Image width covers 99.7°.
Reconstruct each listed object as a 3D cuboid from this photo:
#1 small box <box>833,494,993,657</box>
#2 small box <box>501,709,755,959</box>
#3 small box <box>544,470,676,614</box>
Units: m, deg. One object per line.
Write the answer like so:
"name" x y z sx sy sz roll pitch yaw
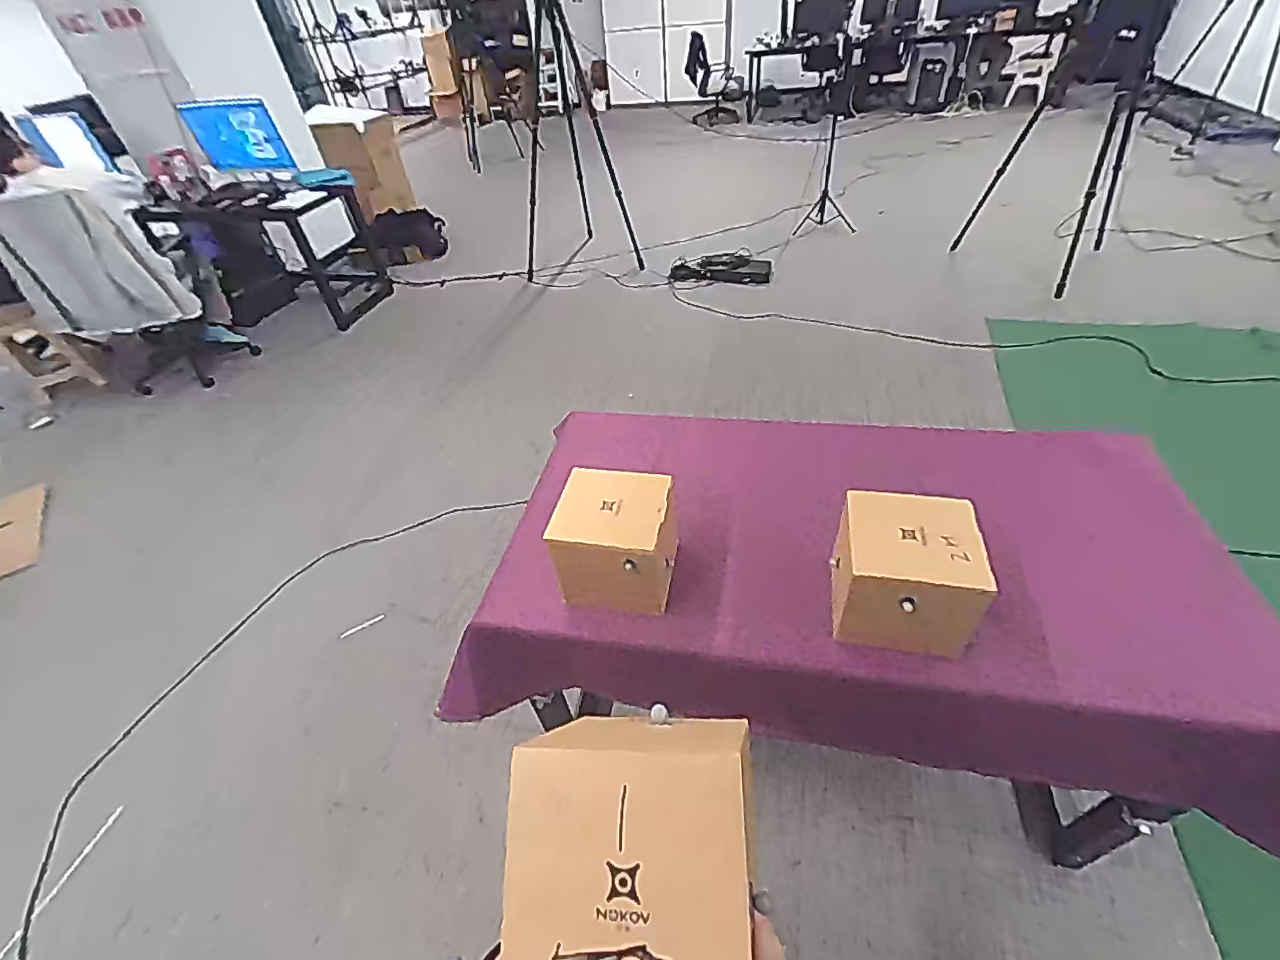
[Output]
"small box" 0.389 0.143 0.810 0.179 0.176 0.168 6 44 13
"small box" 0.004 0.291 0.435 0.168 0.176 0.179 -3 73 11
"small box" -0.039 0.104 0.905 0.179 0.176 0.168 5 44 11
